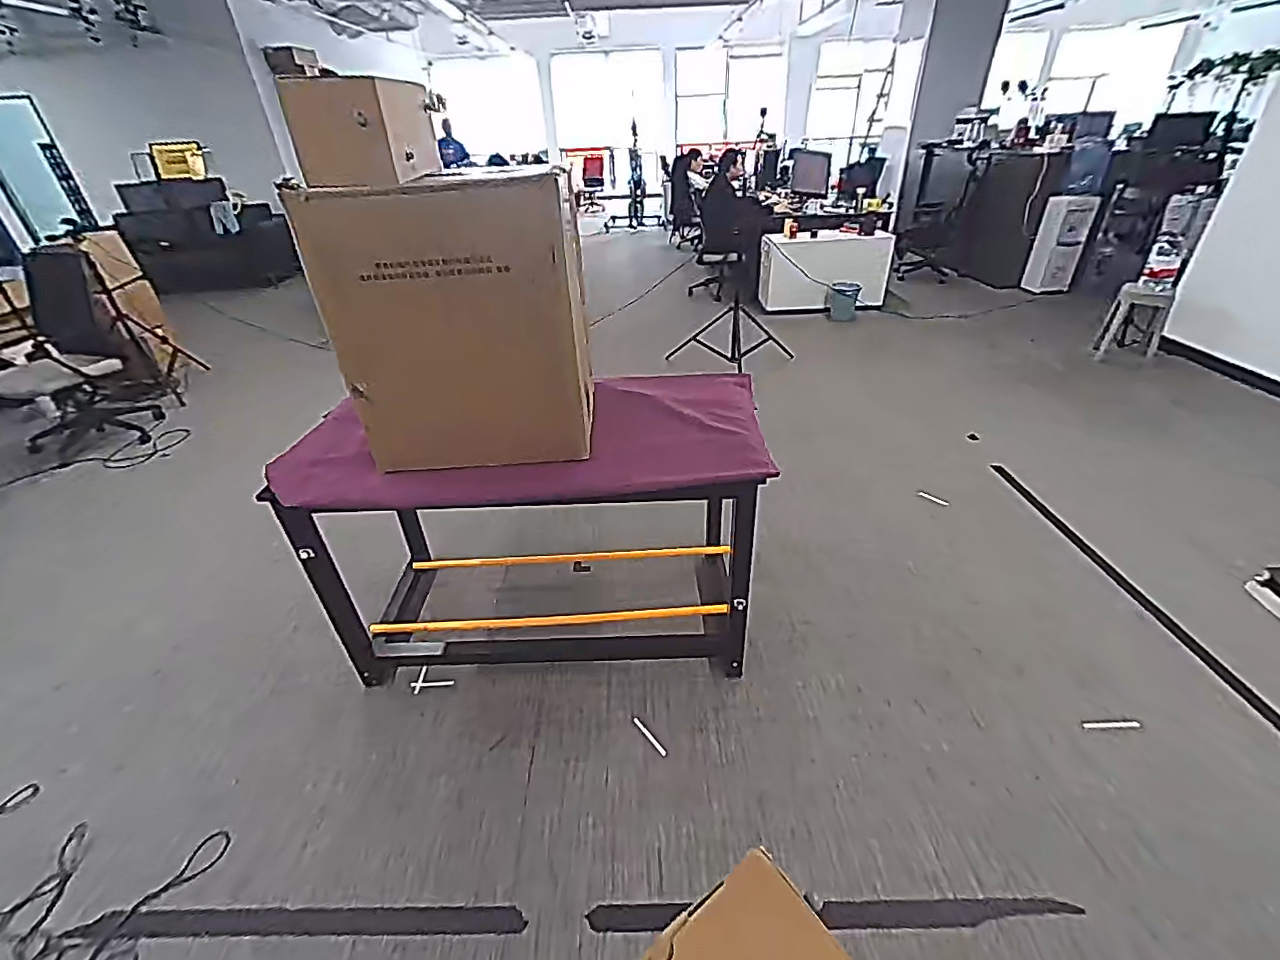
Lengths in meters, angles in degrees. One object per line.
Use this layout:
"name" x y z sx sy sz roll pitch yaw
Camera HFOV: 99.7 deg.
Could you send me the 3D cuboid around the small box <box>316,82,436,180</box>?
"small box" -0.561 -0.756 1.180 0.168 0.176 0.179 -3 33 -1
